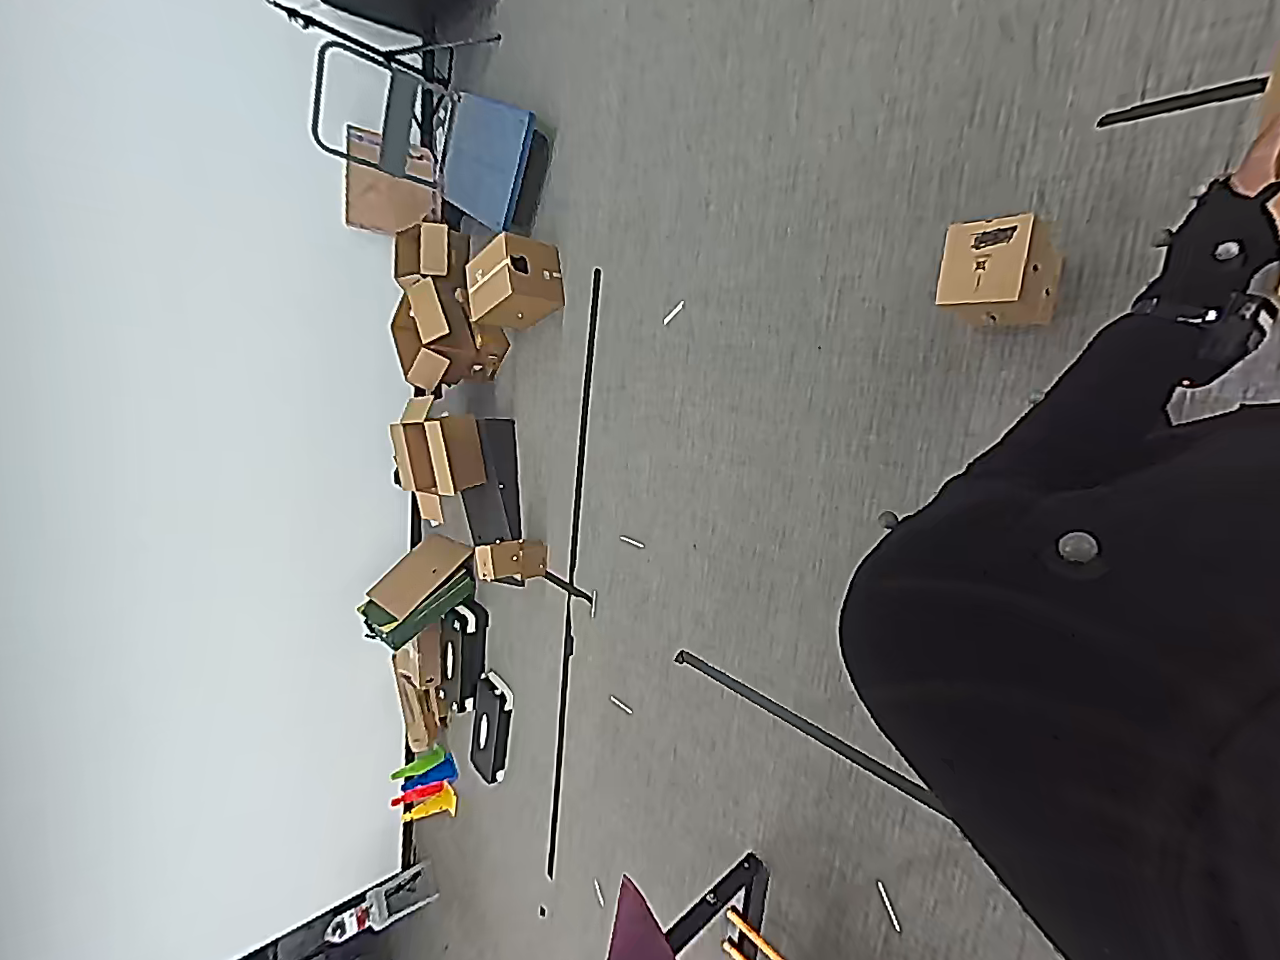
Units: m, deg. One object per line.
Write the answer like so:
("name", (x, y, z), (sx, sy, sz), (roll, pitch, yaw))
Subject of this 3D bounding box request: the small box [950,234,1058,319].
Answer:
("small box", (0.897, -0.493, 1.330), (0.179, 0.176, 0.168), (15, 104, 45))

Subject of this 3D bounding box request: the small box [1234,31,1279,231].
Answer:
("small box", (0.643, -0.323, 0.453), (0.168, 0.176, 0.179), (9, 102, 39))

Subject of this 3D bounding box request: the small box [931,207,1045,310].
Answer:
("small box", (0.783, -0.485, 1.212), (0.168, 0.176, 0.179), (15, 105, 45))
